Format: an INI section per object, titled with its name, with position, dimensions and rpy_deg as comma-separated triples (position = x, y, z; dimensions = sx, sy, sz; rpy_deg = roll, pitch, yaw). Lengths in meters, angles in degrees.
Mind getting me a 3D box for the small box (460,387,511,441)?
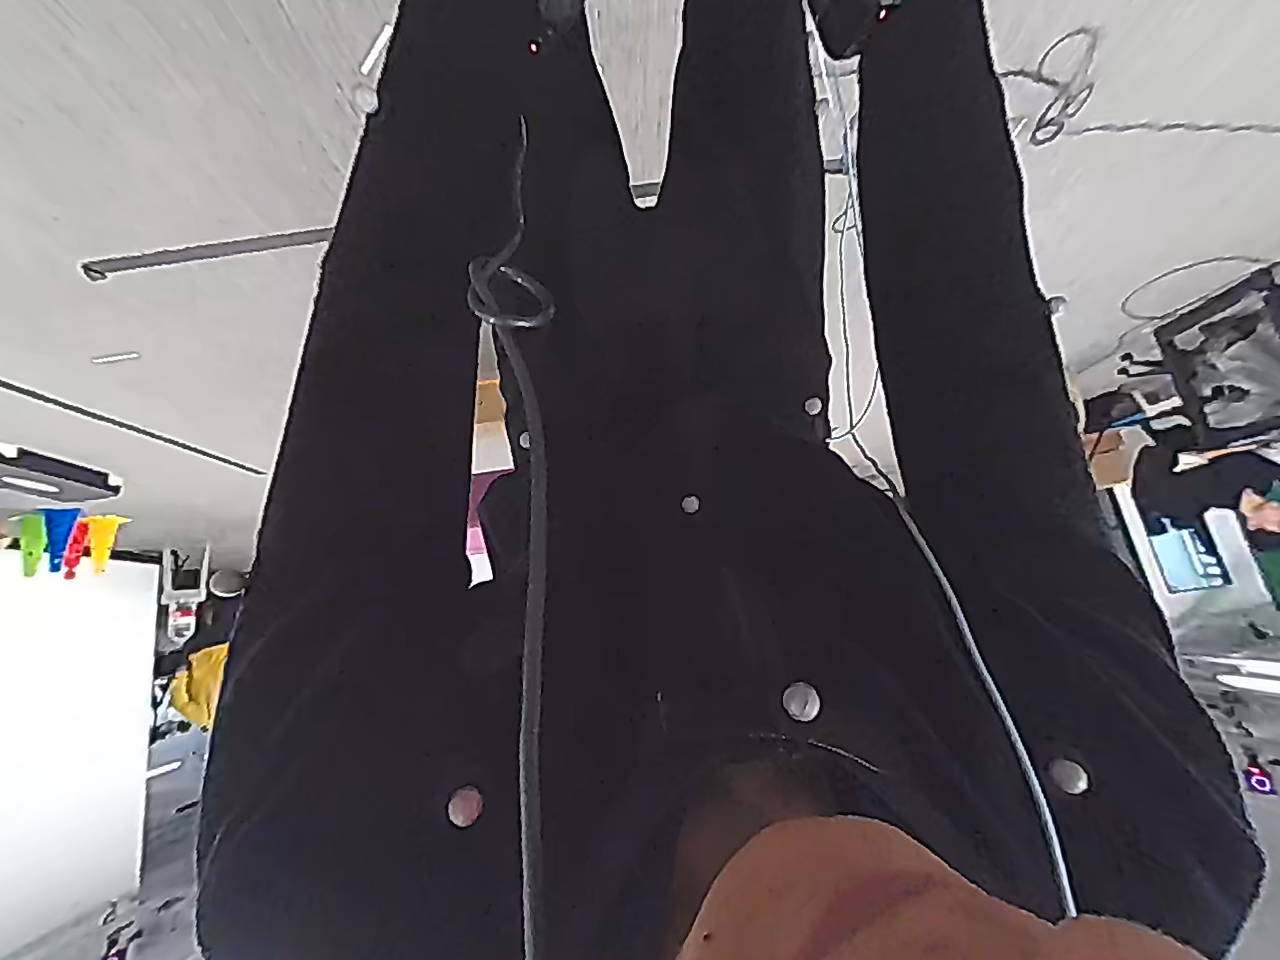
[small box]
position = -0.647, -0.281, 2.265
dimensions = 0.168, 0.176, 0.179
rpy_deg = -9, 167, -2
